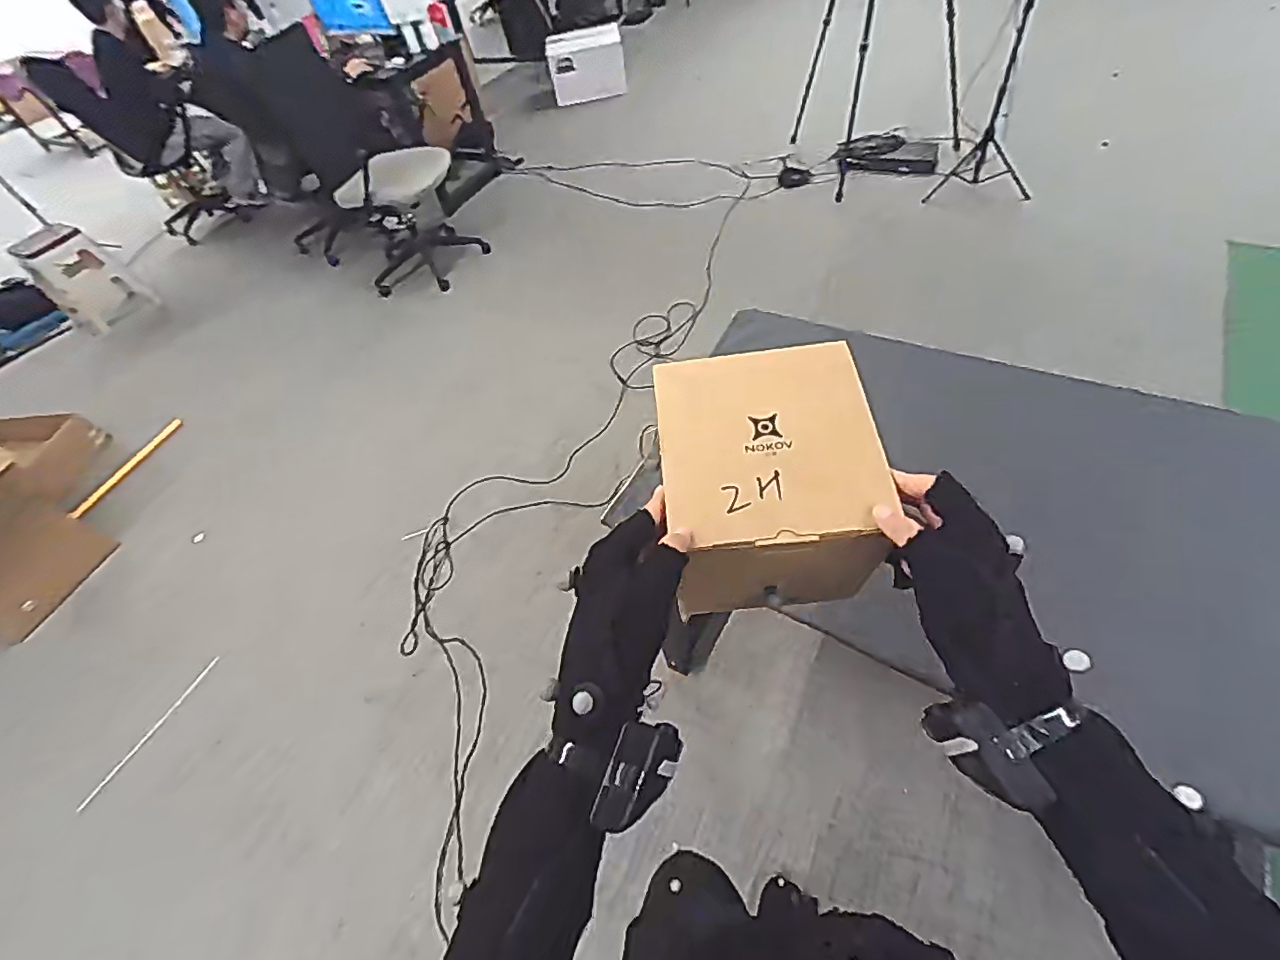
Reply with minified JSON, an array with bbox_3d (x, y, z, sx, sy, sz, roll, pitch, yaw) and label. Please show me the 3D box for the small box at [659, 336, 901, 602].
[{"bbox_3d":[0.107,-0.002,0.490,0.168,0.176,0.179,-5,61,5],"label":"small box"}]
